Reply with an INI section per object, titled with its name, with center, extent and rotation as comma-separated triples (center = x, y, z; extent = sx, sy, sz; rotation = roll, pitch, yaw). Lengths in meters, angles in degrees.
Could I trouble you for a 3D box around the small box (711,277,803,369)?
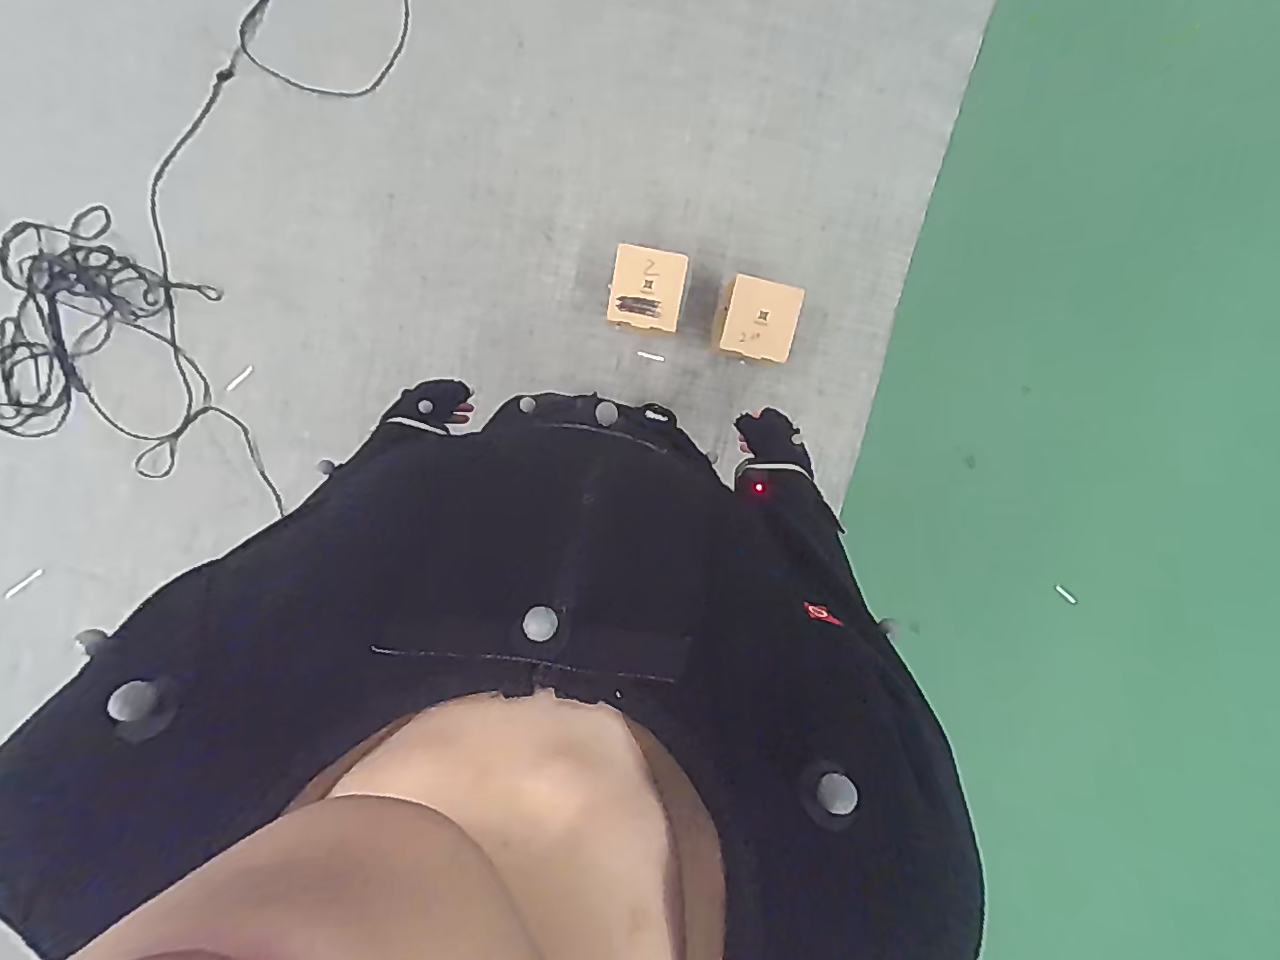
[small box]
center = 0.282, -0.384, 1.350
extent = 0.168, 0.176, 0.179
rotation = 13, 99, -2
